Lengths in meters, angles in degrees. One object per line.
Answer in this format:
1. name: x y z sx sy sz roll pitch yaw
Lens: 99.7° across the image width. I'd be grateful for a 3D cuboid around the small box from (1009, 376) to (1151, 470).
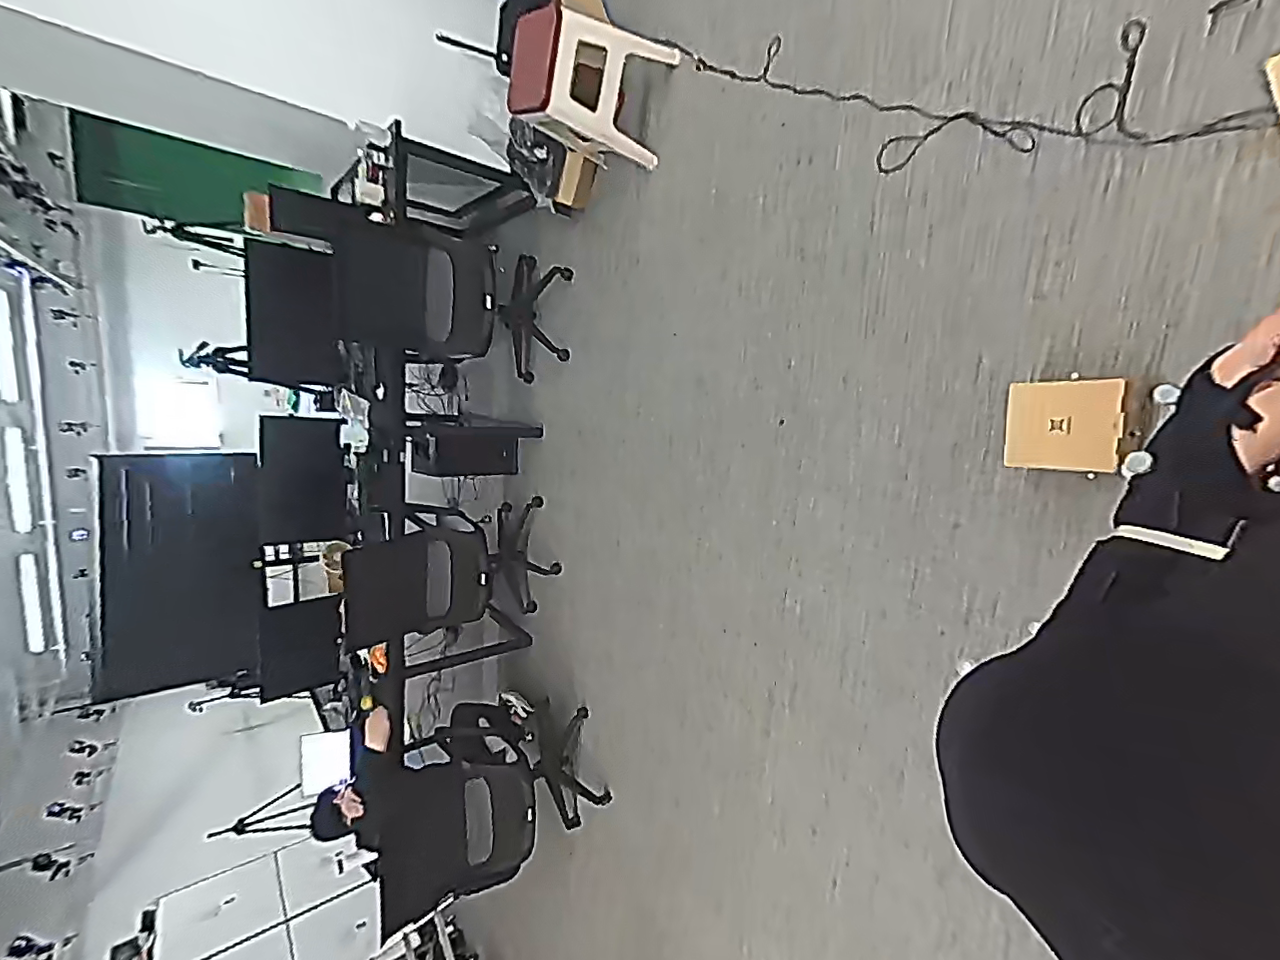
1. small box: 0.845 -0.107 1.042 0.179 0.176 0.168 6 98 50
